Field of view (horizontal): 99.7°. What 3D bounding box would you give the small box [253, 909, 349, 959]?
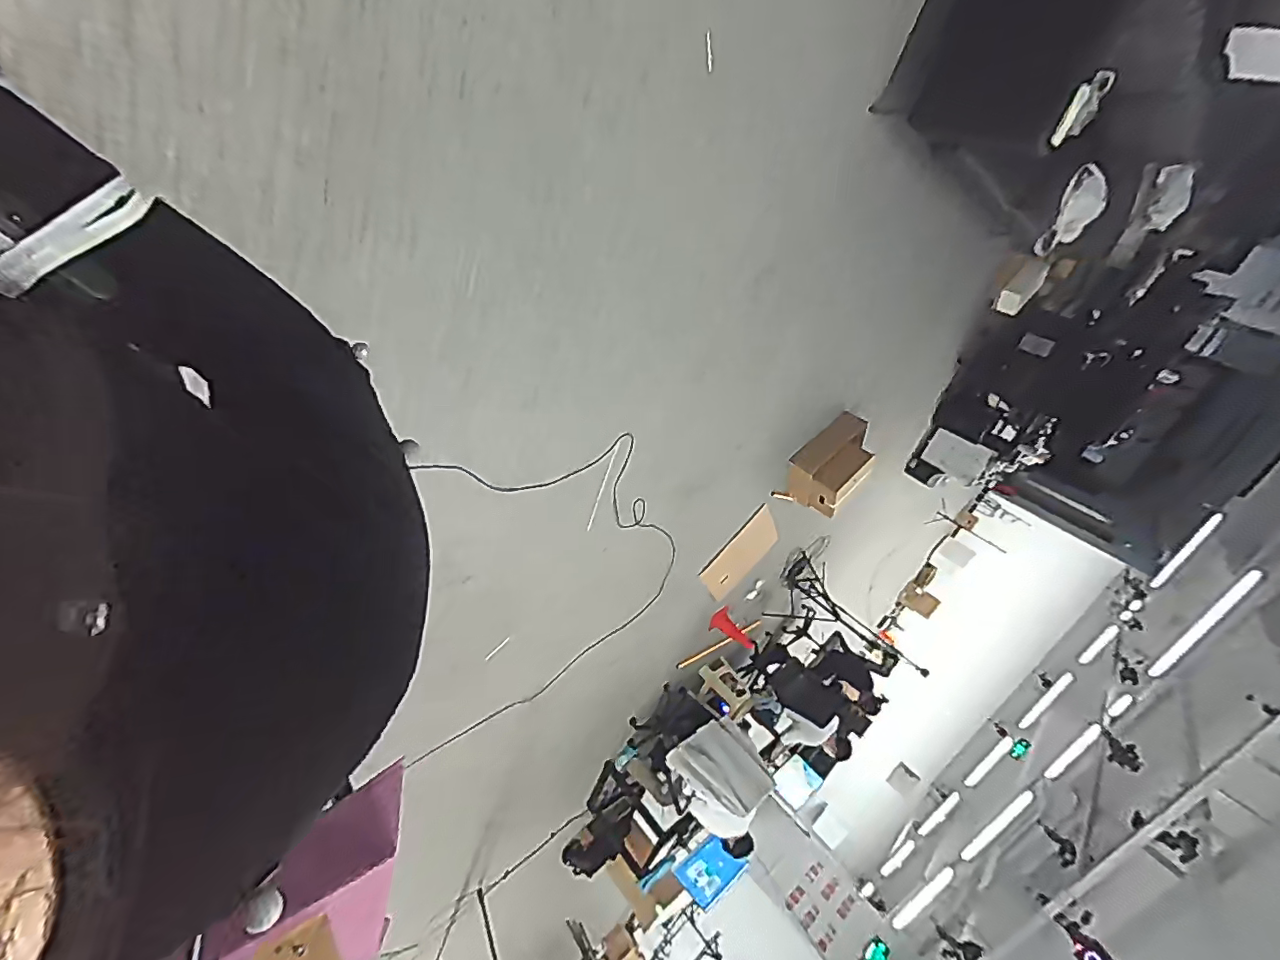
[{"bbox_3d":[-0.788,1.165,1.262,0.168,0.176,0.179,-9,127,-45],"label":"small box"}]
